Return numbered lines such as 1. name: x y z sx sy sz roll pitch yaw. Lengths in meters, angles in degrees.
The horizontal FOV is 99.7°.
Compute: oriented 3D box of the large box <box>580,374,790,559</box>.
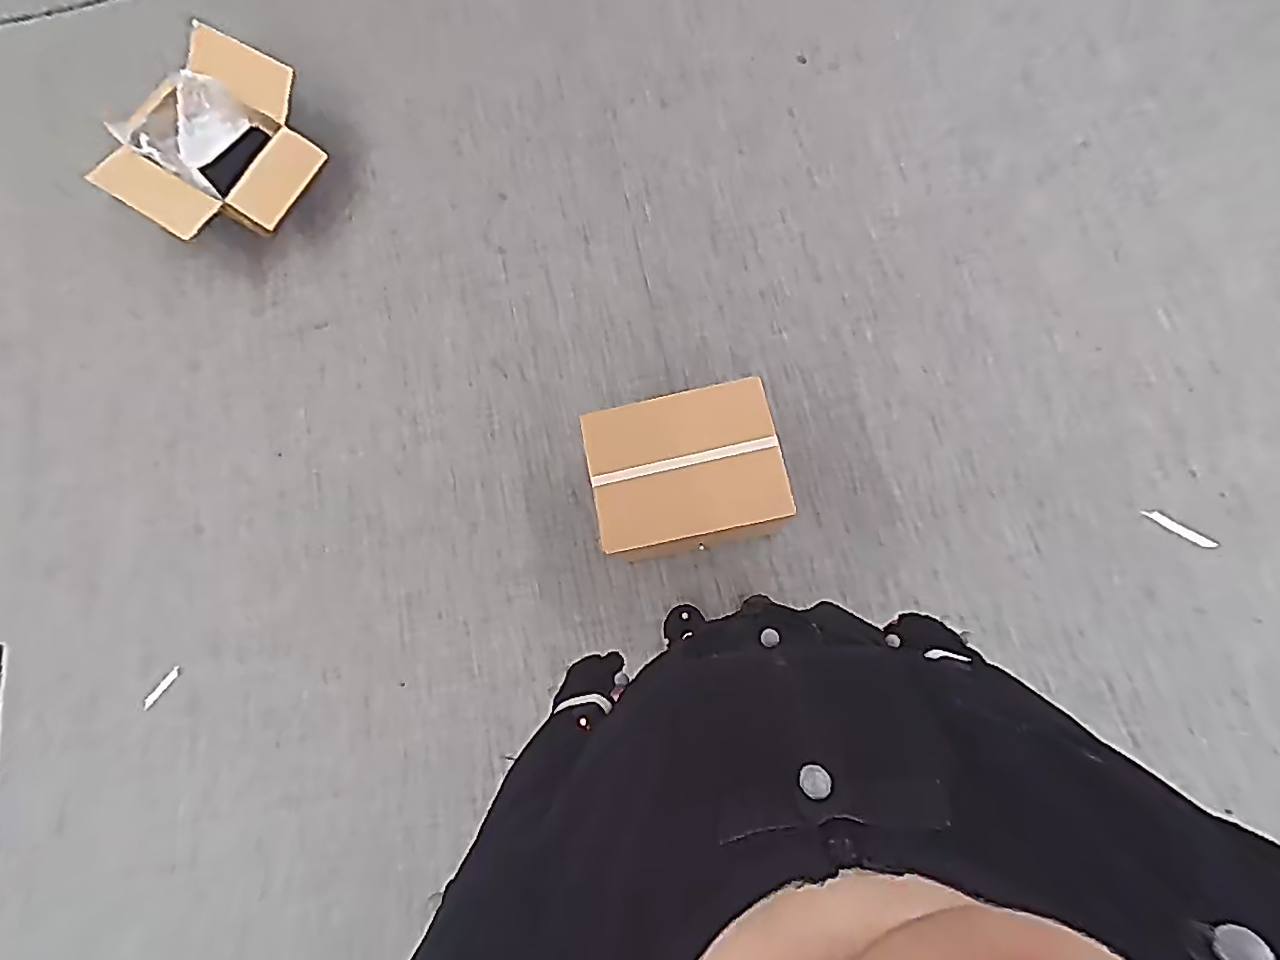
1. large box: 0.102 -0.011 1.296 0.408 0.320 0.320 -12 78 4
